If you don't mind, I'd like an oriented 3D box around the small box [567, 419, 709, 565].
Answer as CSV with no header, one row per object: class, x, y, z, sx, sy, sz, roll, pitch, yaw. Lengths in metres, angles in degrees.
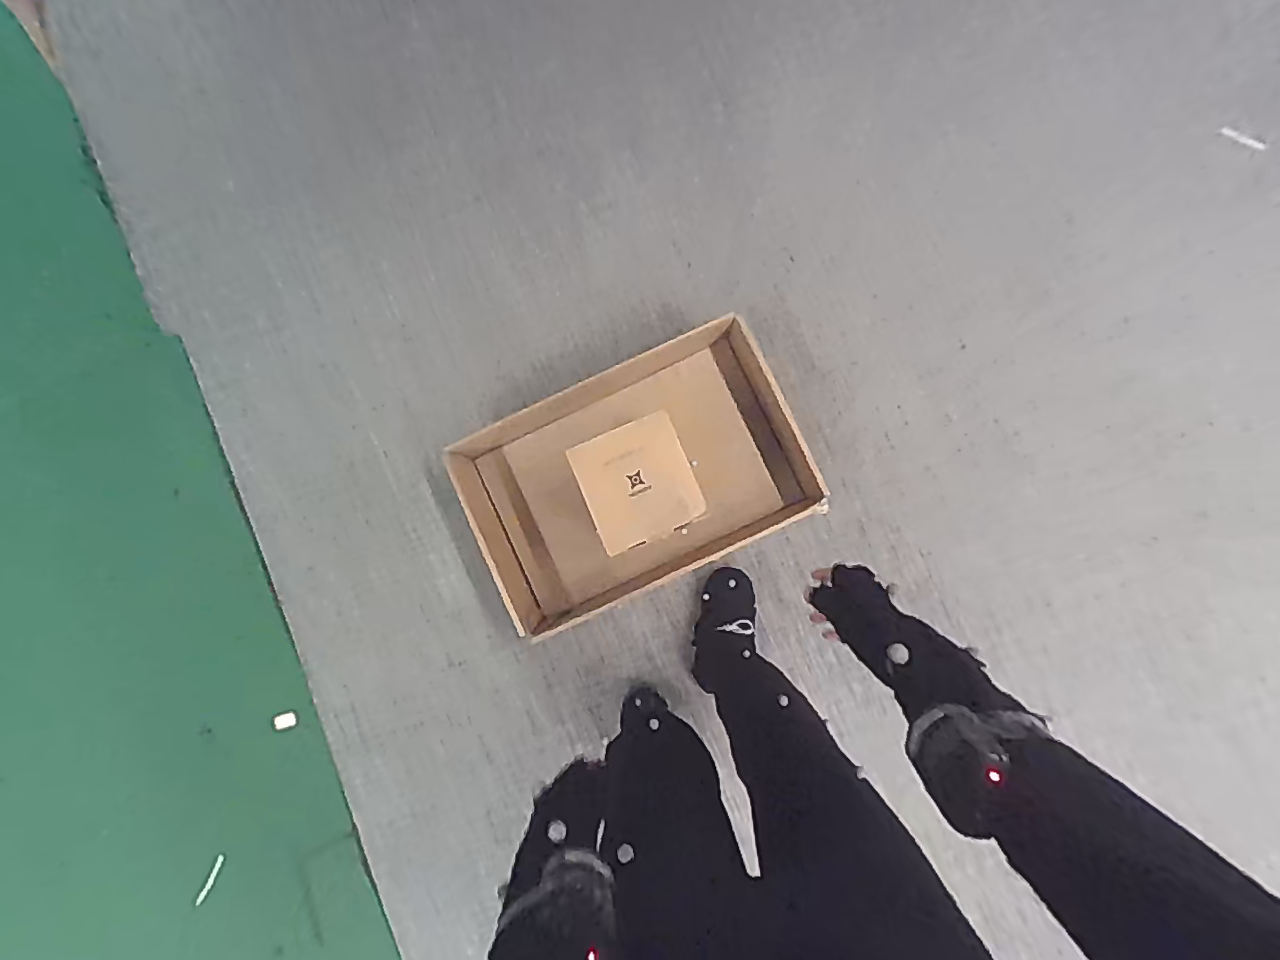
small box,0.002,0.021,0.881,0.168,0.176,0.179,-24,85,1
